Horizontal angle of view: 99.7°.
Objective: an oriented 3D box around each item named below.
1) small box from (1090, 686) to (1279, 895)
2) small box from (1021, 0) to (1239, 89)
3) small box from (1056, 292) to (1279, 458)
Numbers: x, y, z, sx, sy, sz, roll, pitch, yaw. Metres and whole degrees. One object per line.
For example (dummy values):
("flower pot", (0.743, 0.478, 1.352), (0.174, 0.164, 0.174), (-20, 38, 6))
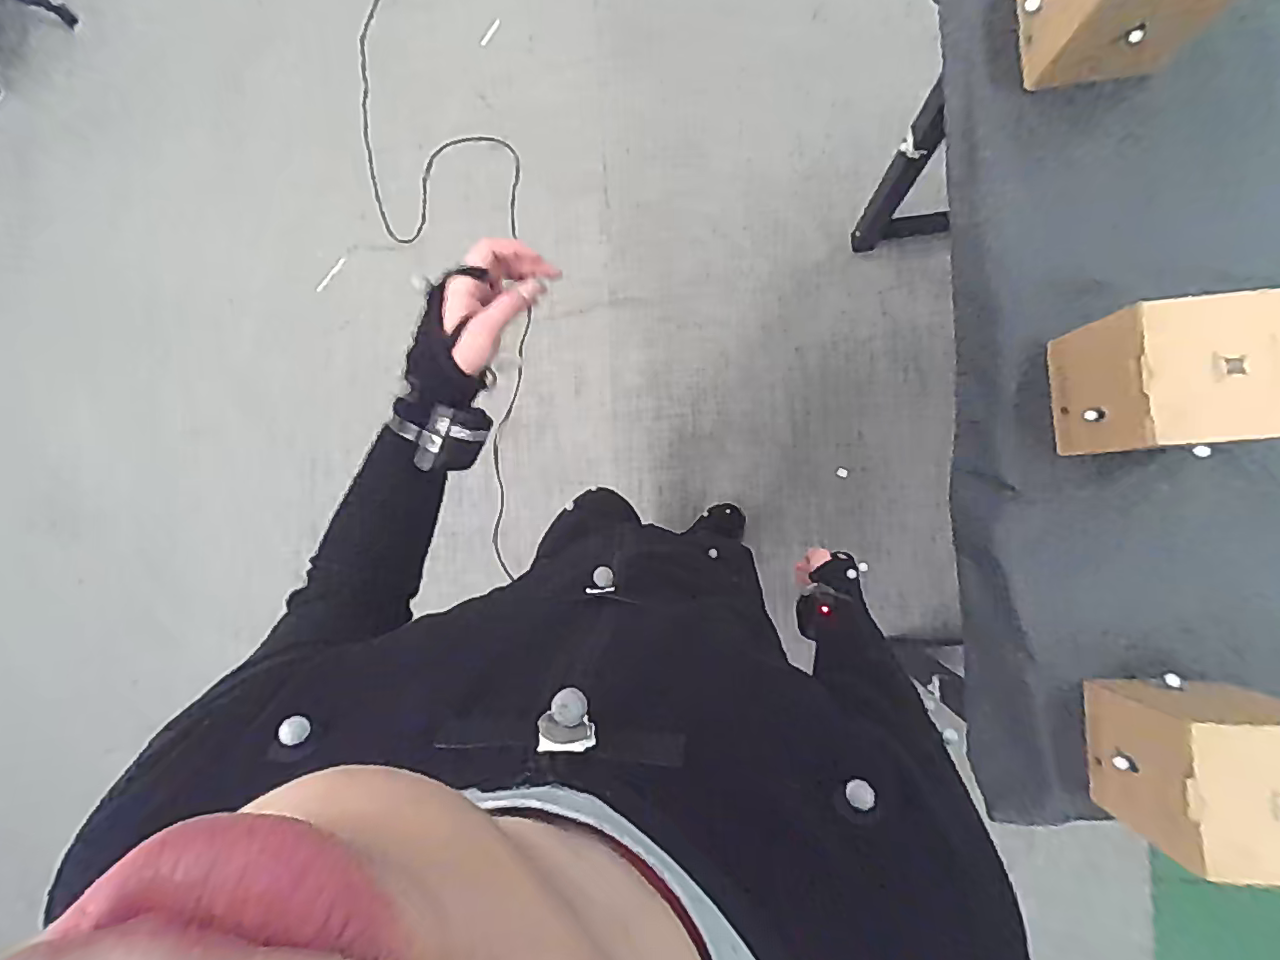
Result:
("small box", (0.680, 0.354, 0.644), (0.179, 0.176, 0.168), (-1, 86, 6))
("small box", (0.624, -0.639, 0.682), (0.179, 0.176, 0.168), (-3, 88, 7))
("small box", (0.653, -0.117, 0.668), (0.179, 0.176, 0.168), (-4, 89, 5))
